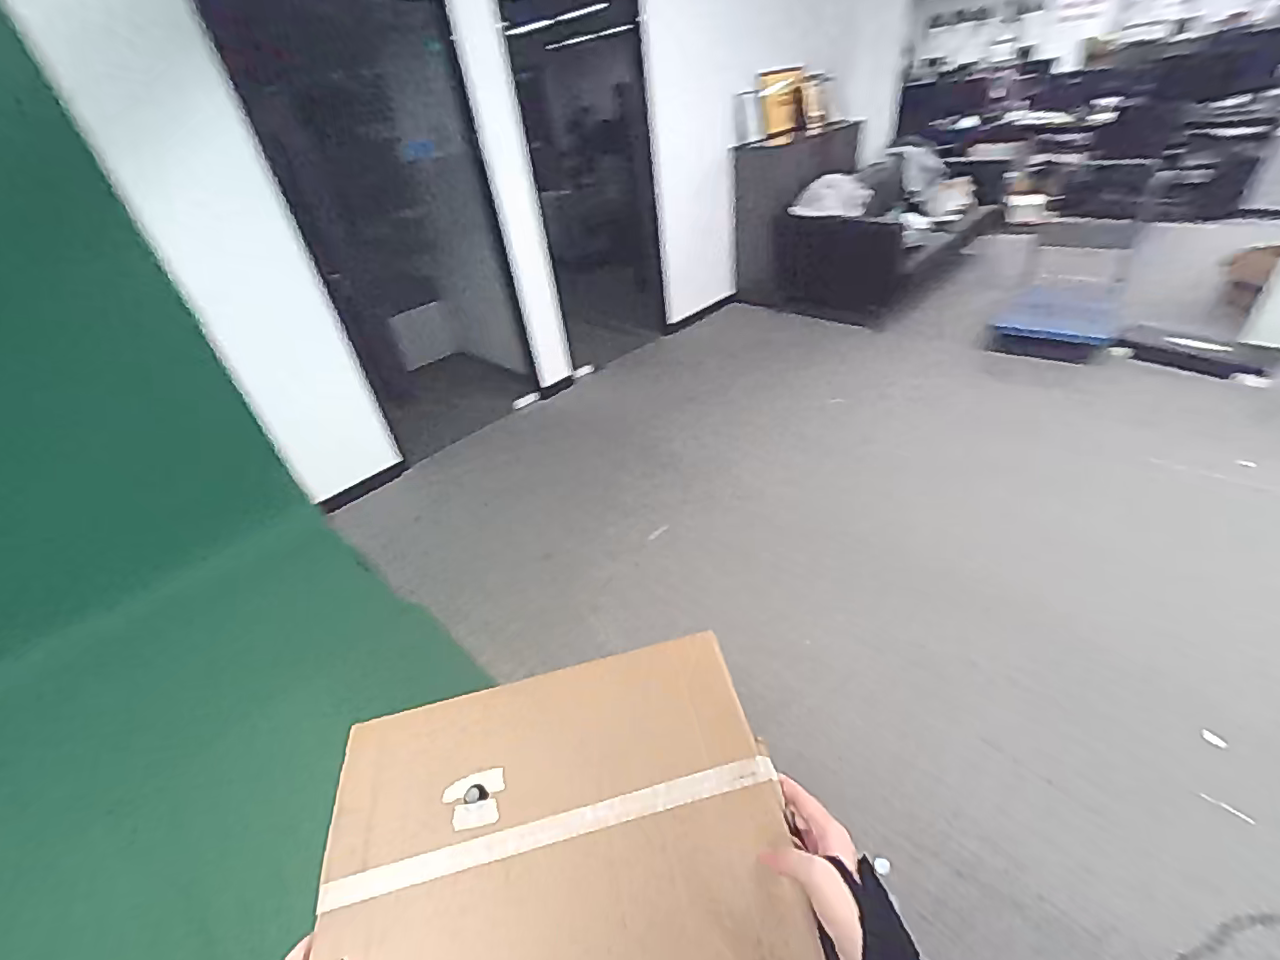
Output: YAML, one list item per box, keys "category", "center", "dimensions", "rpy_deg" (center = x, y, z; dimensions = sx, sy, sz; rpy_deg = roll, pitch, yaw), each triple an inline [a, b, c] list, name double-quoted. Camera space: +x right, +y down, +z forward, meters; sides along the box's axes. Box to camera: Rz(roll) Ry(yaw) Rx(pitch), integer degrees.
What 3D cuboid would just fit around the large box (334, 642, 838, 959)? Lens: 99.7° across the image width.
- category: "large box"
  center: [-0.045, 0.435, 0.587]
  dimensions: [0.408, 0.320, 0.320]
  rpy_deg: [-14, 41, -2]
